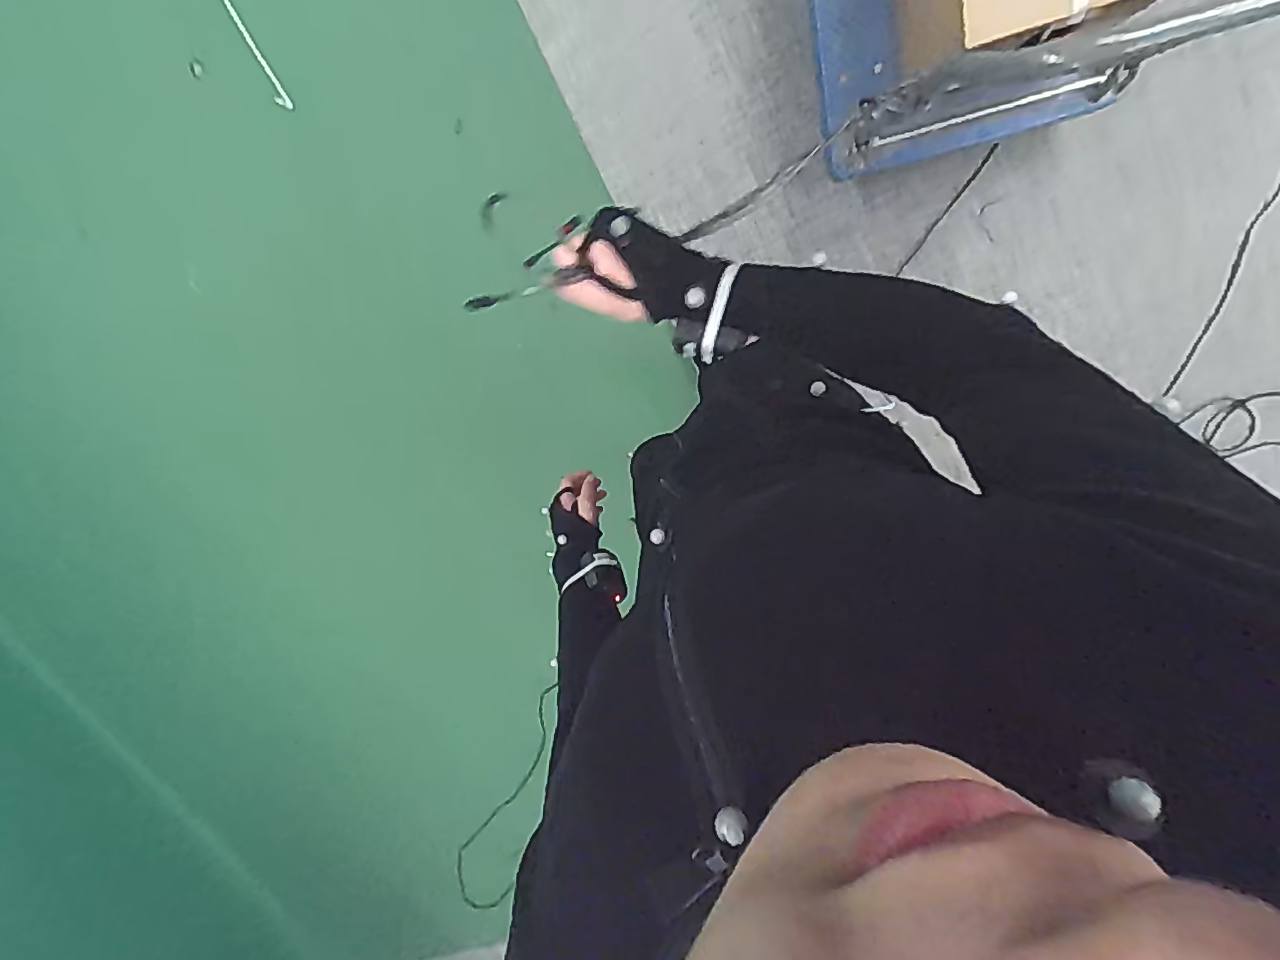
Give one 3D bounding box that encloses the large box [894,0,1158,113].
[{"bbox_3d":[0.622,-0.922,0.898,0.320,0.320,0.408,-11,108,11],"label":"large box"}]
